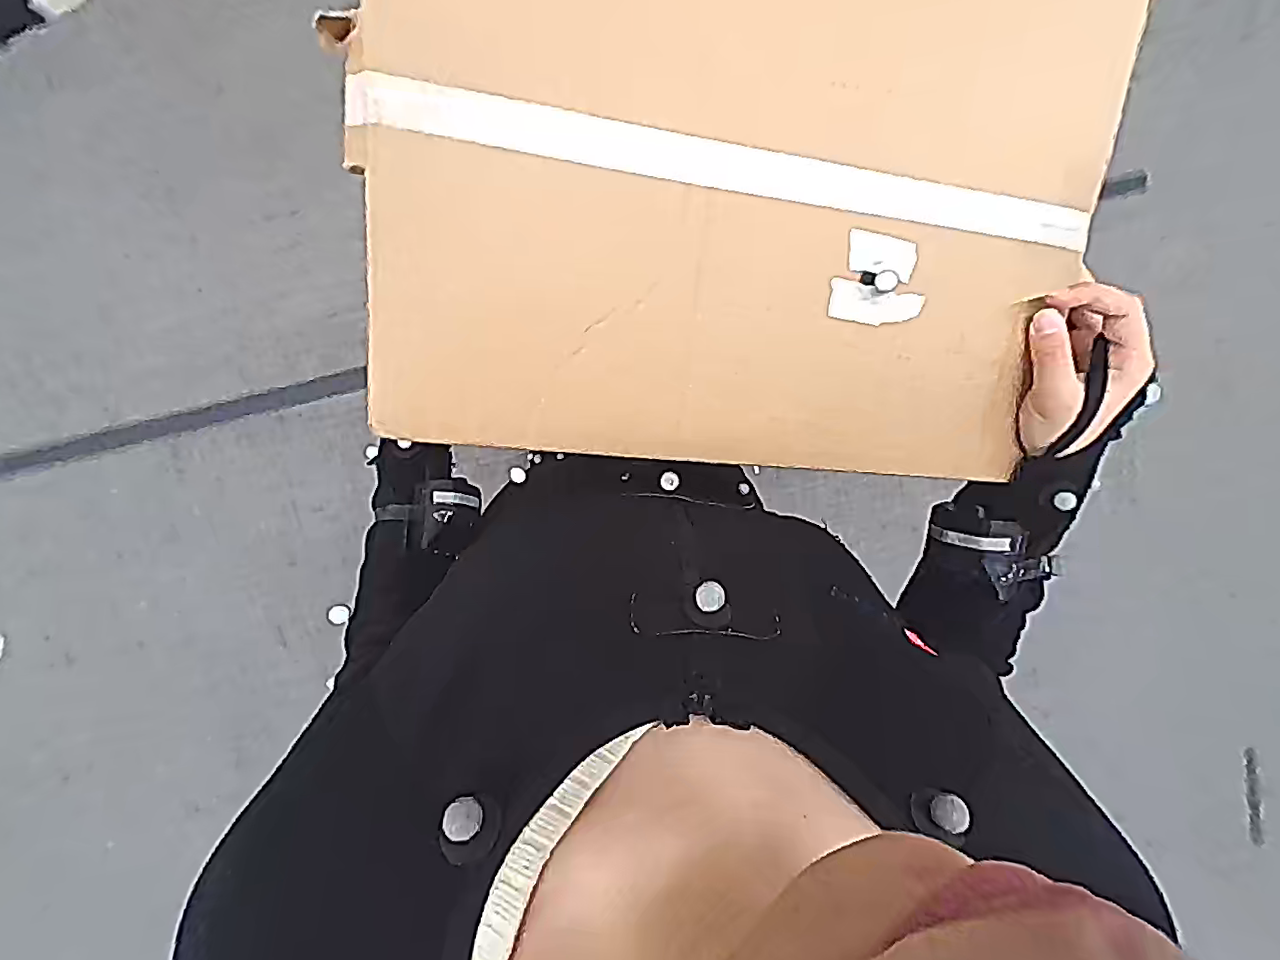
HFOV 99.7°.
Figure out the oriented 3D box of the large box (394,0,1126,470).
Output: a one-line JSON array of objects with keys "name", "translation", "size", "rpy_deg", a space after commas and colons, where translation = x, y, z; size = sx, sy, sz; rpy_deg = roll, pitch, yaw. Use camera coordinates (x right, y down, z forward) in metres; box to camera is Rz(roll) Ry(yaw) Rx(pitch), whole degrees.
[{"name": "large box", "translation": [0.044, -0.199, 0.439], "size": [0.408, 0.320, 0.320], "rpy_deg": [4, 104, -14]}]
